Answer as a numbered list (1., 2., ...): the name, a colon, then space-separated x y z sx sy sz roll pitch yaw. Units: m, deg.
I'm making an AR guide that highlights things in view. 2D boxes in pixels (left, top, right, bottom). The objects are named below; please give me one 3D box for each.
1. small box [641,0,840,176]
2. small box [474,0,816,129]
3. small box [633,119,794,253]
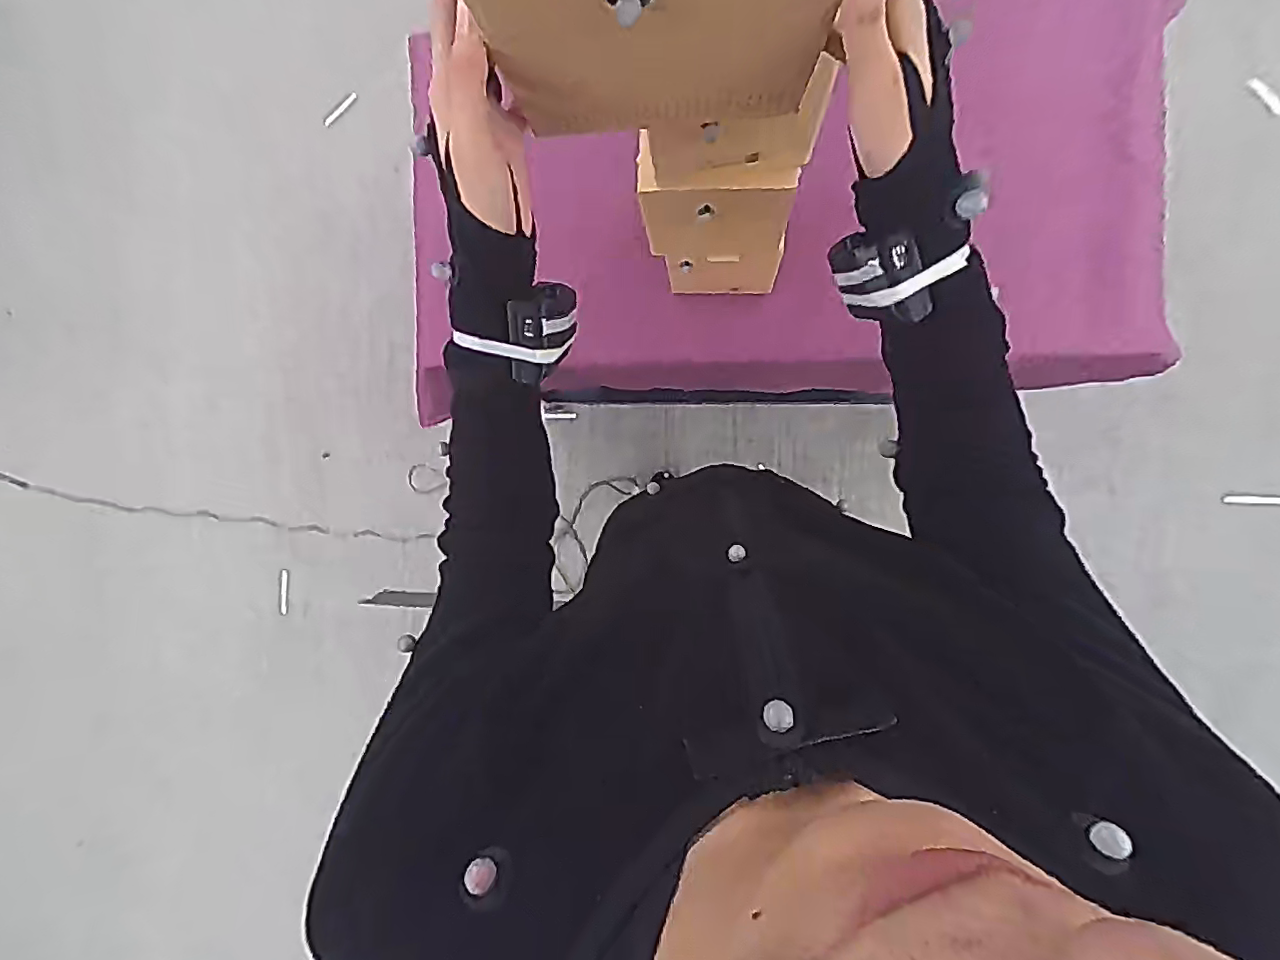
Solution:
1. small box: 0.079 -0.414 0.506 0.168 0.176 0.179 -5 88 7
2. small box: 0.001 -0.303 0.268 0.179 0.176 0.168 -2 99 4
3. small box: 0.093 -0.394 0.667 0.179 0.176 0.168 3 90 7
